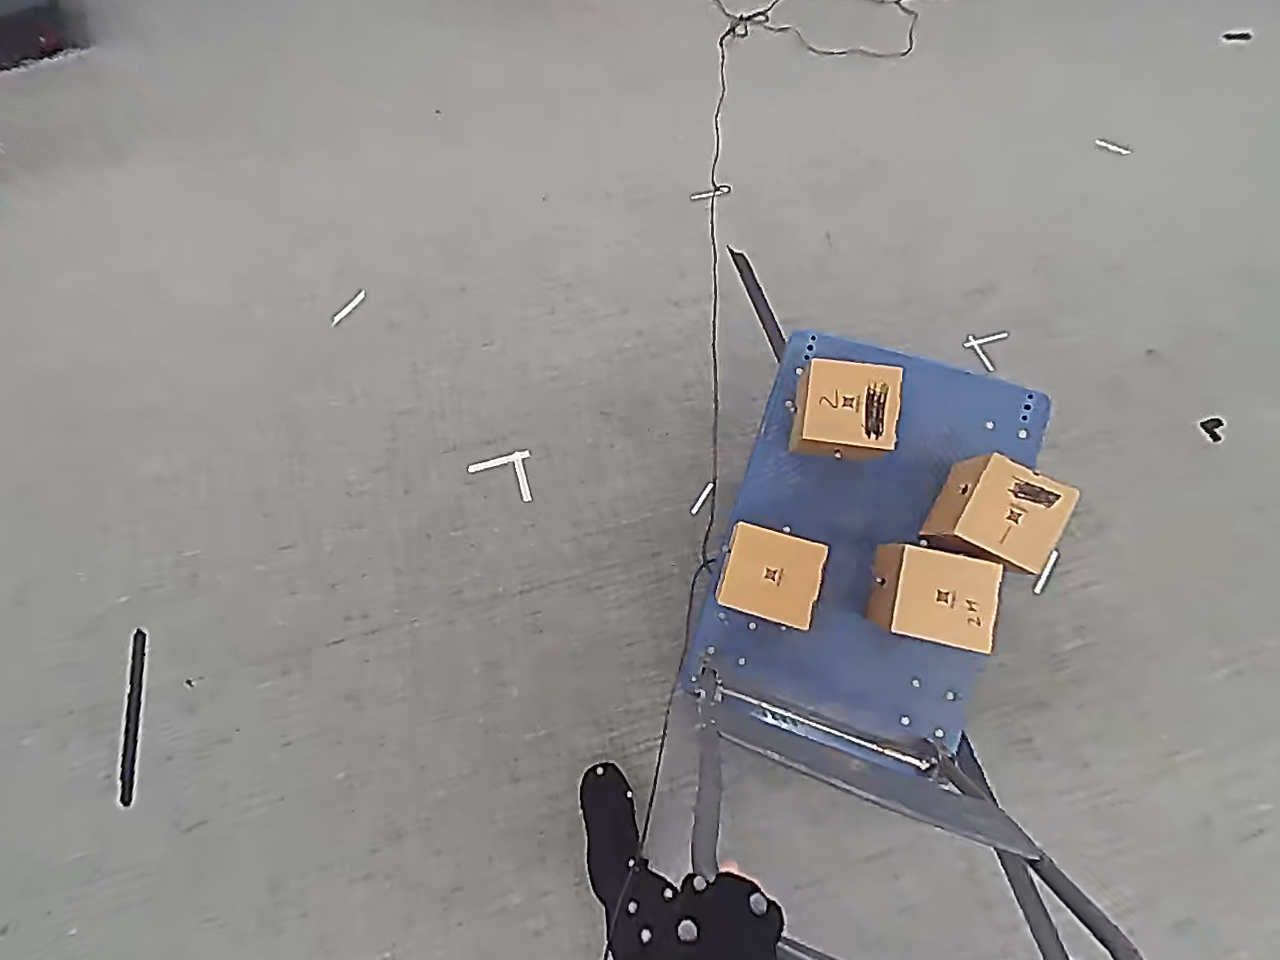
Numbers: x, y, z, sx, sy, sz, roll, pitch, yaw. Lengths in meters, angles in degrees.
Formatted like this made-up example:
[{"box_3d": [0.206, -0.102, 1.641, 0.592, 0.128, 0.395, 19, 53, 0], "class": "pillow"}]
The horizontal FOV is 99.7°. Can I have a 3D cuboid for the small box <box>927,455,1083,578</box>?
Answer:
[{"box_3d": [0.701, 0.074, 1.063, 0.168, 0.176, 0.179, 28, 87, 10], "class": "small box"}]

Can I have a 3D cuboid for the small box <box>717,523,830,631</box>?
[{"box_3d": [0.262, 0.194, 1.102, 0.179, 0.176, 0.168, 16, 85, 7], "class": "small box"}]

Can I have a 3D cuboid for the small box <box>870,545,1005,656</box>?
[{"box_3d": [0.570, 0.229, 1.060, 0.179, 0.176, 0.168, 12, 85, 9], "class": "small box"}]
